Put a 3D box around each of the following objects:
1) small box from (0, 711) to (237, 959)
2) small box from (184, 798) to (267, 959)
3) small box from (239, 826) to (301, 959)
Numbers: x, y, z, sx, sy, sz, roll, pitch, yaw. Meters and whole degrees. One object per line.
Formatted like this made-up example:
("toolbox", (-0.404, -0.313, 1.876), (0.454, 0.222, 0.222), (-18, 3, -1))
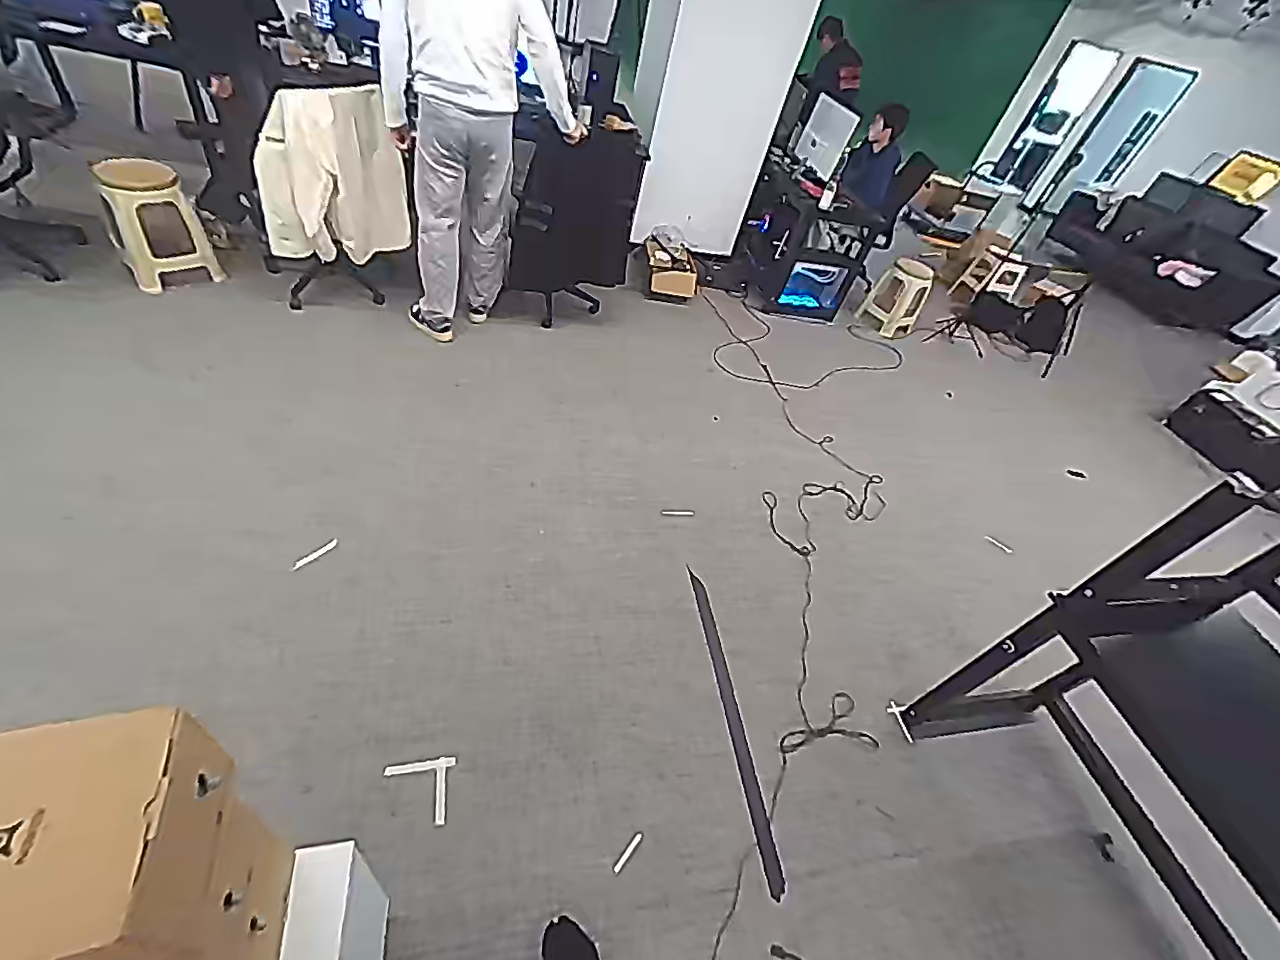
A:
("small box", (-0.465, 0.316, 0.443), (0.179, 0.176, 0.168), (-4, 48, -20))
("small box", (-0.509, 0.437, 0.544), (0.179, 0.176, 0.168), (0, 47, -17))
("small box", (-0.545, 0.549, 0.660), (0.179, 0.176, 0.168), (-1, 48, -17))
